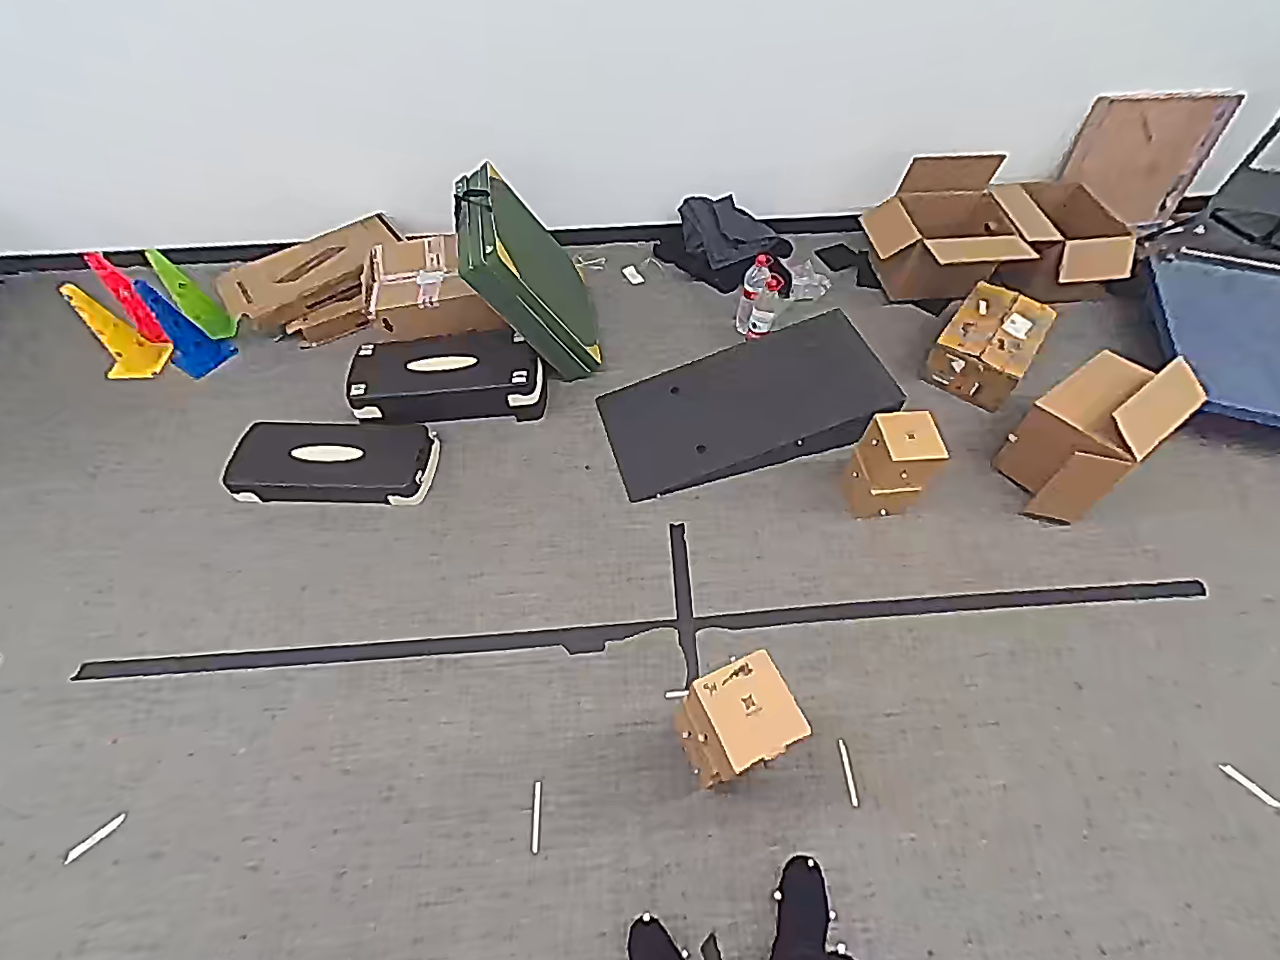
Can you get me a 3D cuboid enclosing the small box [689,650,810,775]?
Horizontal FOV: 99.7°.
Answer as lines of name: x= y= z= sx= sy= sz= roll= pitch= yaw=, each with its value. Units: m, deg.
small box: x=0.211 y=0.477 z=1.096 sx=0.168 sy=0.176 sz=0.179 roll=-20 pitch=60 yaw=-13
